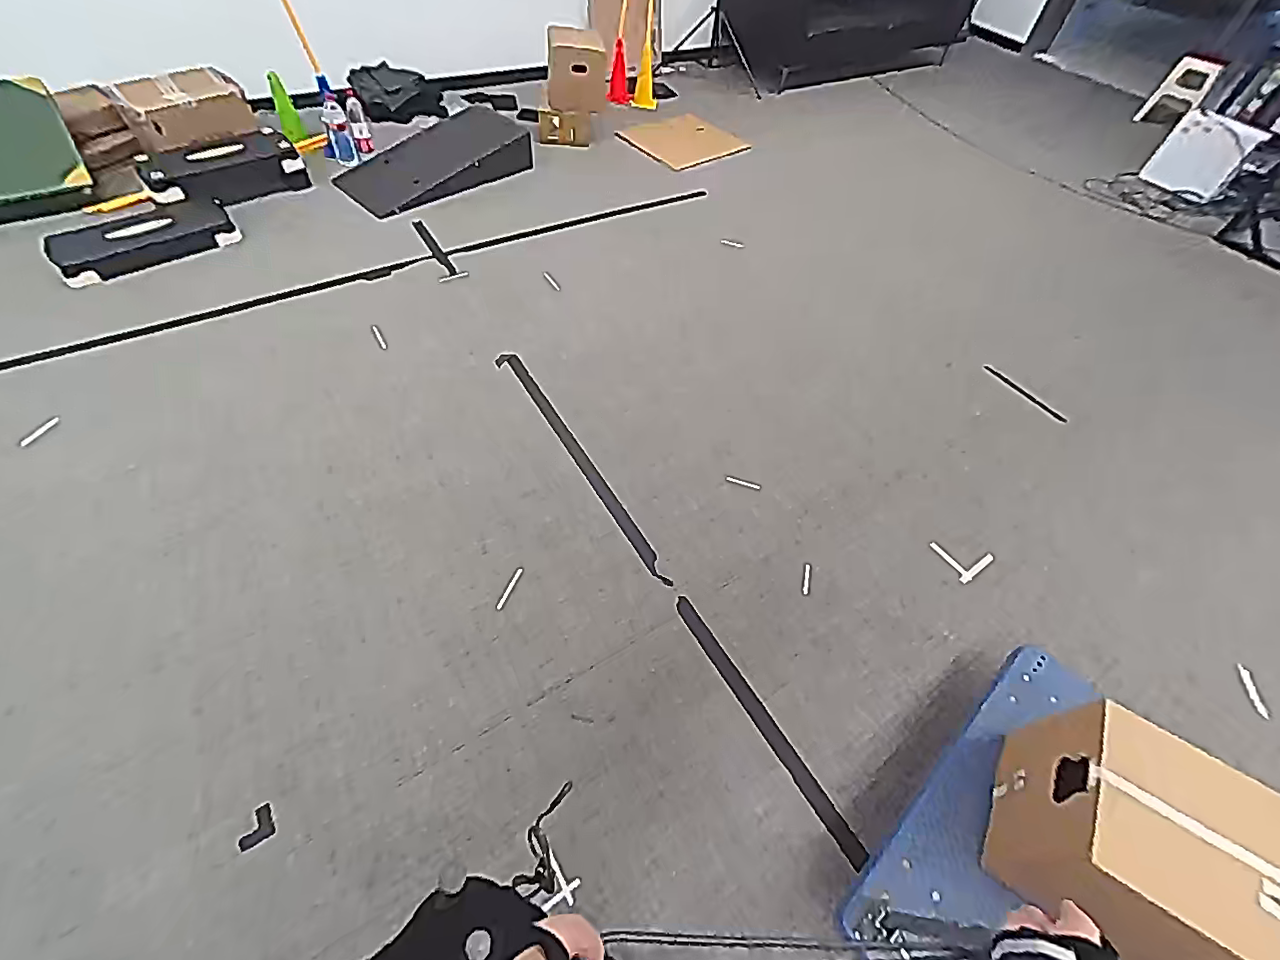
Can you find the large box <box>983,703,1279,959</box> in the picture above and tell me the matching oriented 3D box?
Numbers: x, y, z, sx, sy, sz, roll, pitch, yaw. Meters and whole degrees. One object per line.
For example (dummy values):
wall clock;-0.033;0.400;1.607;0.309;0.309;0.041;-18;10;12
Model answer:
large box;0.948;0.699;1.011;0.408;0.320;0.320;30;56;15
